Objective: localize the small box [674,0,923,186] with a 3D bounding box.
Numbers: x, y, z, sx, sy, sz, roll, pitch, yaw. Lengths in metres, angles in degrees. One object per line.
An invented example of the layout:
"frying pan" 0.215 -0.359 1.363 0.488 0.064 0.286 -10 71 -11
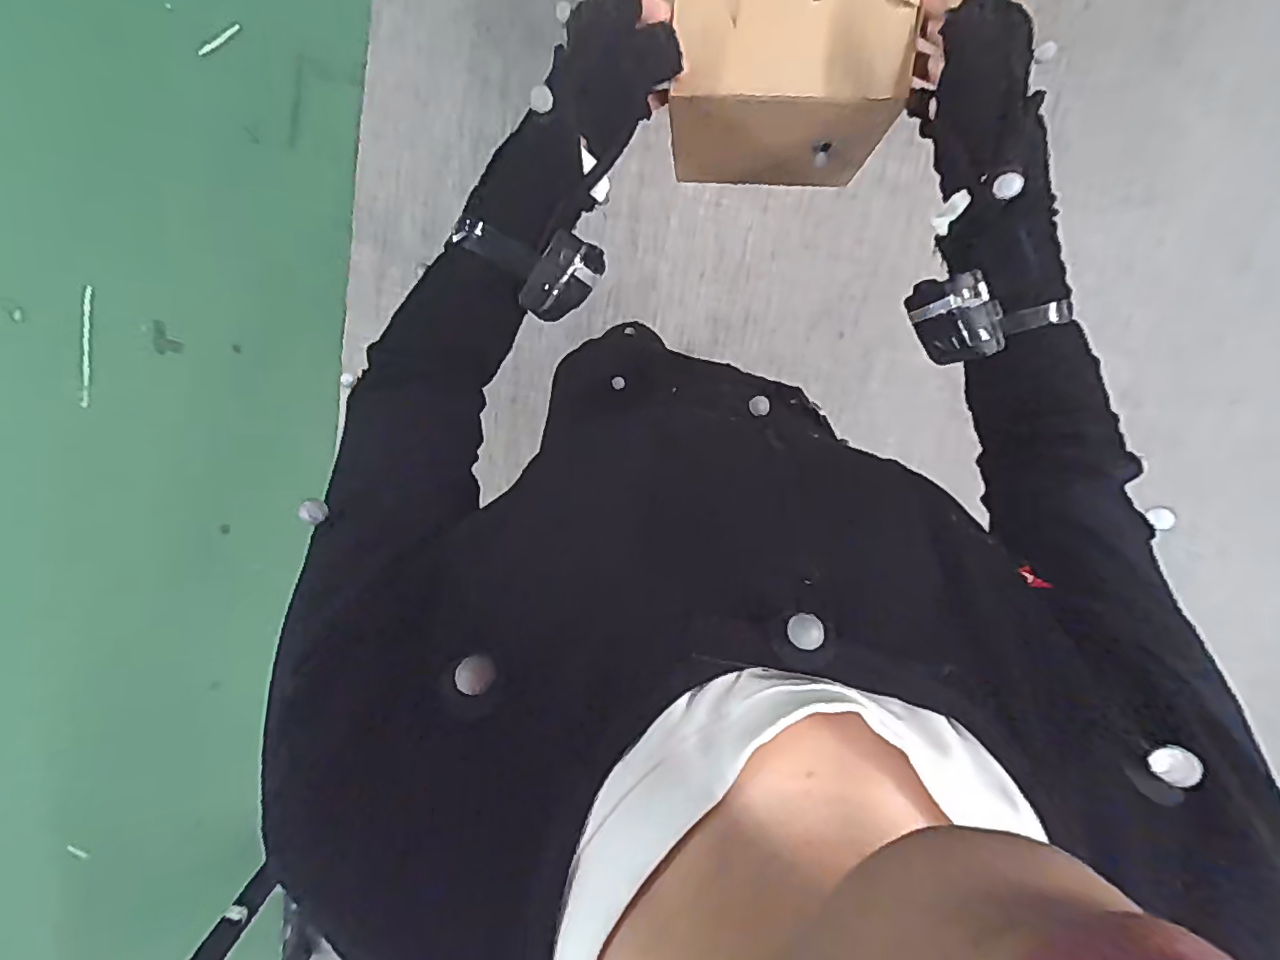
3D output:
"small box" 0.123 -0.373 0.465 0.179 0.176 0.168 4 98 5
